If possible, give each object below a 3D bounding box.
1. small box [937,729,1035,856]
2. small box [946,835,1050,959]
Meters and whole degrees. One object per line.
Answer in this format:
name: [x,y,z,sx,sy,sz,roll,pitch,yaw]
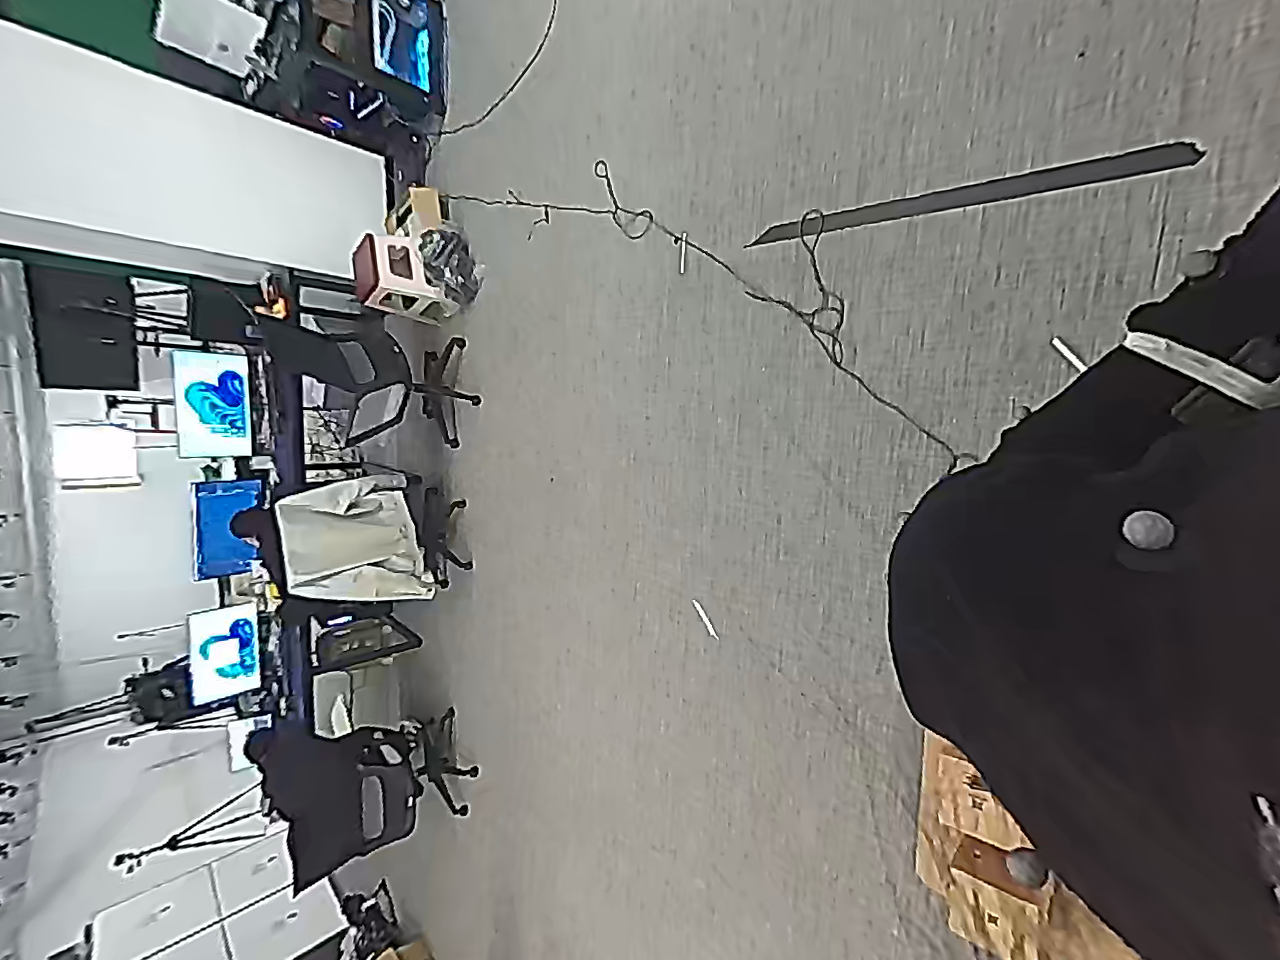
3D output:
small box: [0.814,0.718,1.271,0.168,0.176,0.179,2,95,45]
small box: [0.842,0.977,1.271,0.179,0.176,0.168,0,95,44]
